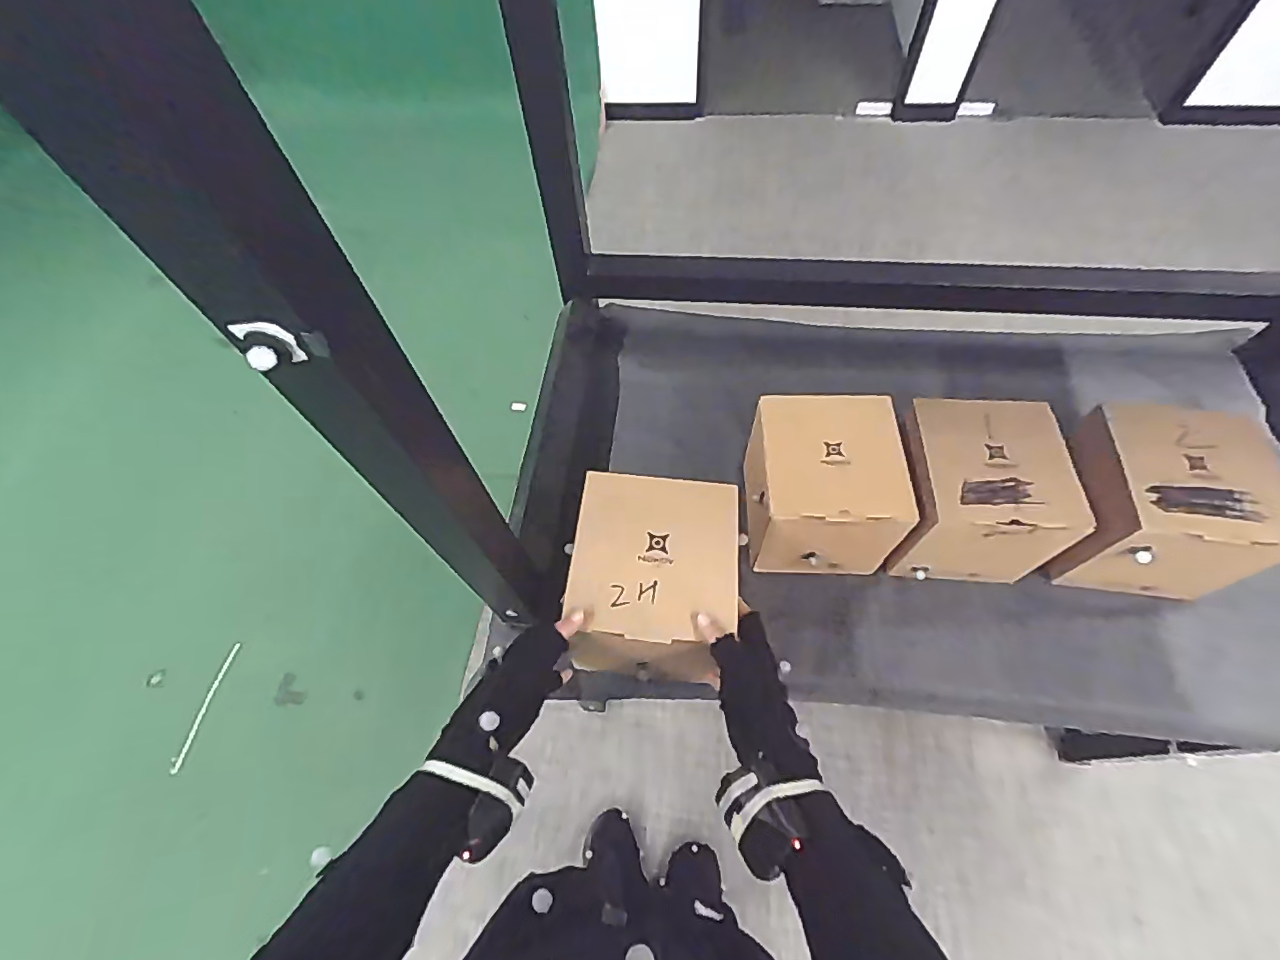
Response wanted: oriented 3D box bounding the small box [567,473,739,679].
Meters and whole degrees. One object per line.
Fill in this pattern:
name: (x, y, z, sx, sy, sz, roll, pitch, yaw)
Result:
small box: (0.017, 0.114, 0.622, 0.168, 0.176, 0.179, 5, 59, 3)
